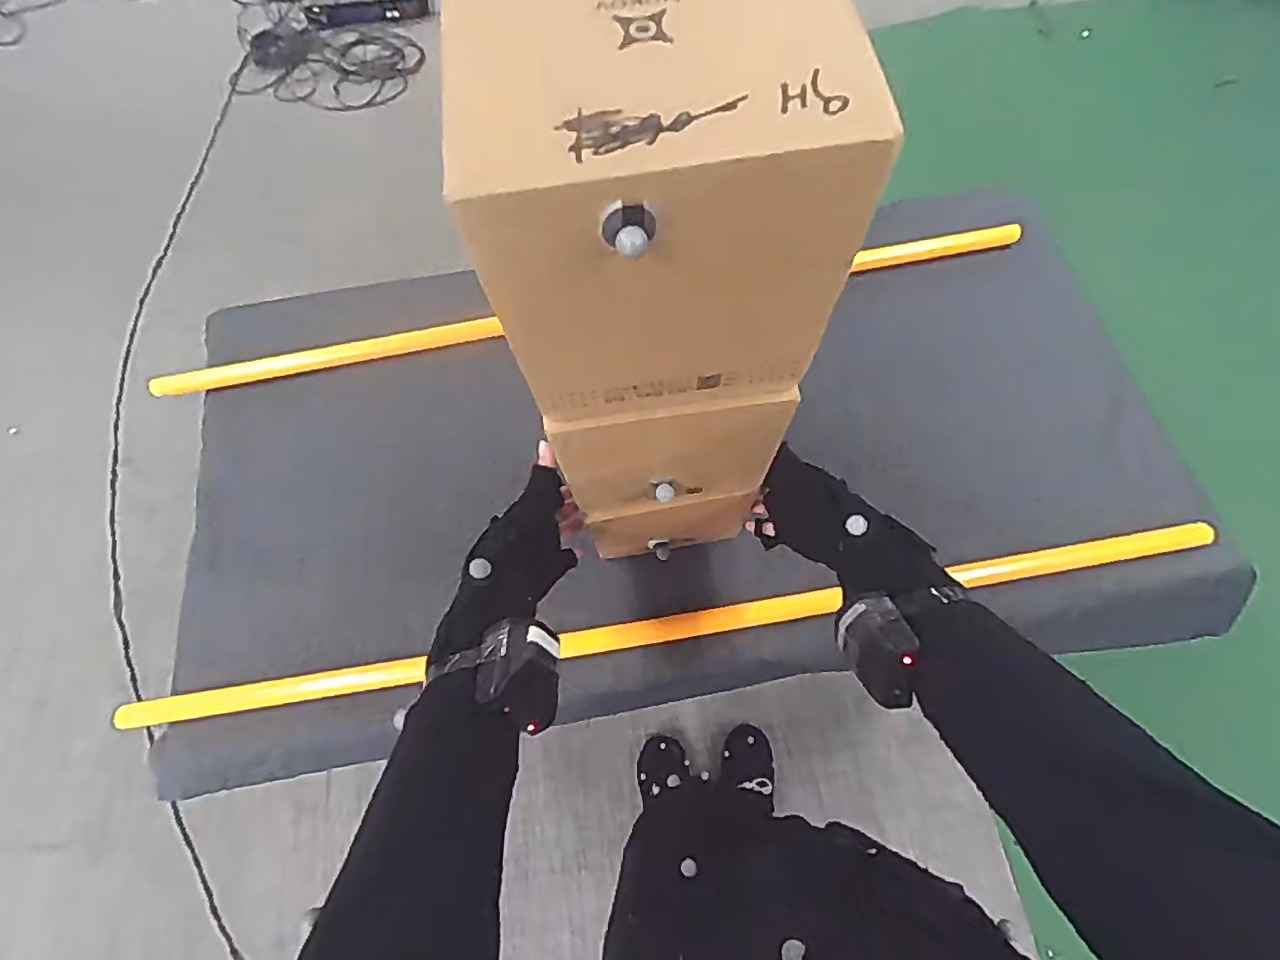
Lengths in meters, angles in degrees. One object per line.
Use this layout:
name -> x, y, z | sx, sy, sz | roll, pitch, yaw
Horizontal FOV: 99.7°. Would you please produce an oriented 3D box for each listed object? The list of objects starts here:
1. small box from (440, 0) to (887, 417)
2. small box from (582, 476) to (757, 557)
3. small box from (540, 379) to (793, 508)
small box -> 0.004, -0.158, 0.301 | 0.168, 0.176, 0.179 | -8, 68, 1
small box -> 0.018, -0.028, 0.602 | 0.168, 0.176, 0.179 | -11, 70, -1
small box -> 0.012, -0.091, 0.450 | 0.168, 0.176, 0.179 | -7, 69, 0
